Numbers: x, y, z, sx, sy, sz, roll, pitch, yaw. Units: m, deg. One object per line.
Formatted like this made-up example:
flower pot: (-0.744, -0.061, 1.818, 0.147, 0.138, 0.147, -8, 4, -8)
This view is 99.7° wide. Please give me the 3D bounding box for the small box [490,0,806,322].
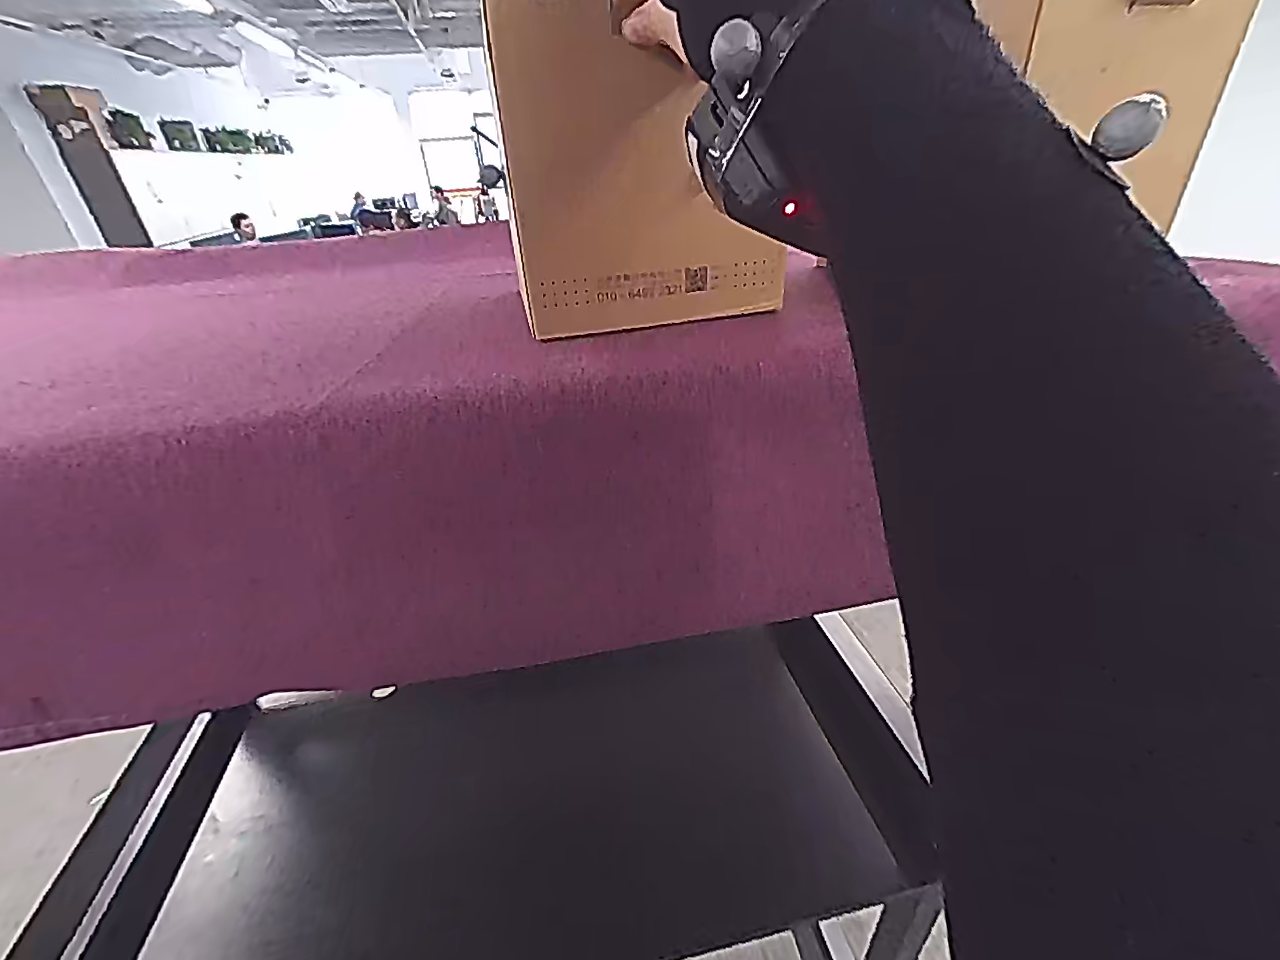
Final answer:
small box: (-0.004, -0.211, 0.373, 0.168, 0.176, 0.179, -9, 30, -10)
